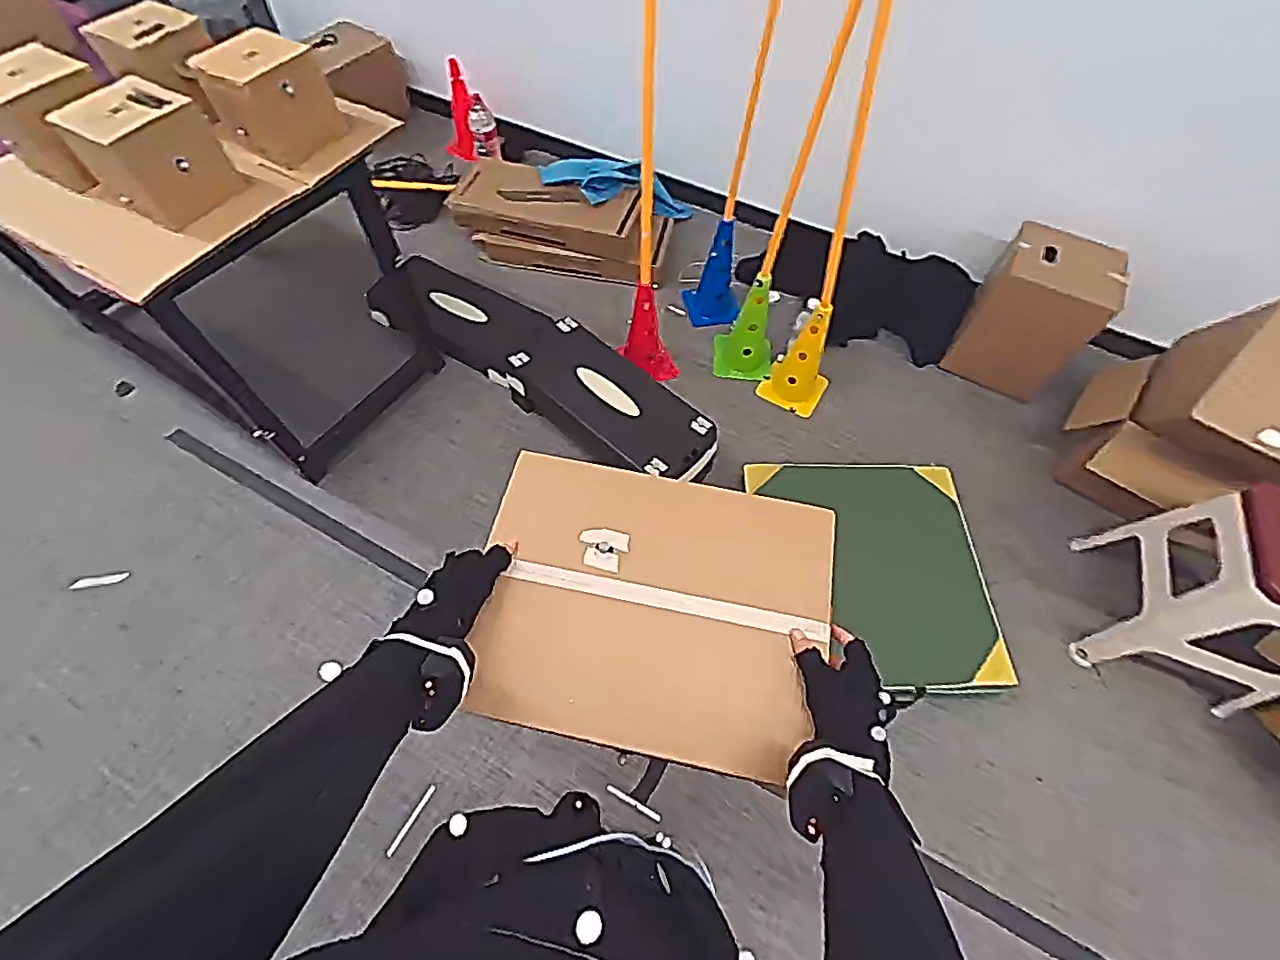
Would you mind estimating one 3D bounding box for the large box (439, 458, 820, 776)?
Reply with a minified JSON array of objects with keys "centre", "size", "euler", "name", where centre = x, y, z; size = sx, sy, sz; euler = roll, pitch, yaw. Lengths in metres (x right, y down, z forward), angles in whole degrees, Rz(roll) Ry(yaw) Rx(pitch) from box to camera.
[{"centre":[0.008,0.201,0.762],"size":[0.408,0.320,0.320],"euler":[10,63,6],"name":"large box"}]
